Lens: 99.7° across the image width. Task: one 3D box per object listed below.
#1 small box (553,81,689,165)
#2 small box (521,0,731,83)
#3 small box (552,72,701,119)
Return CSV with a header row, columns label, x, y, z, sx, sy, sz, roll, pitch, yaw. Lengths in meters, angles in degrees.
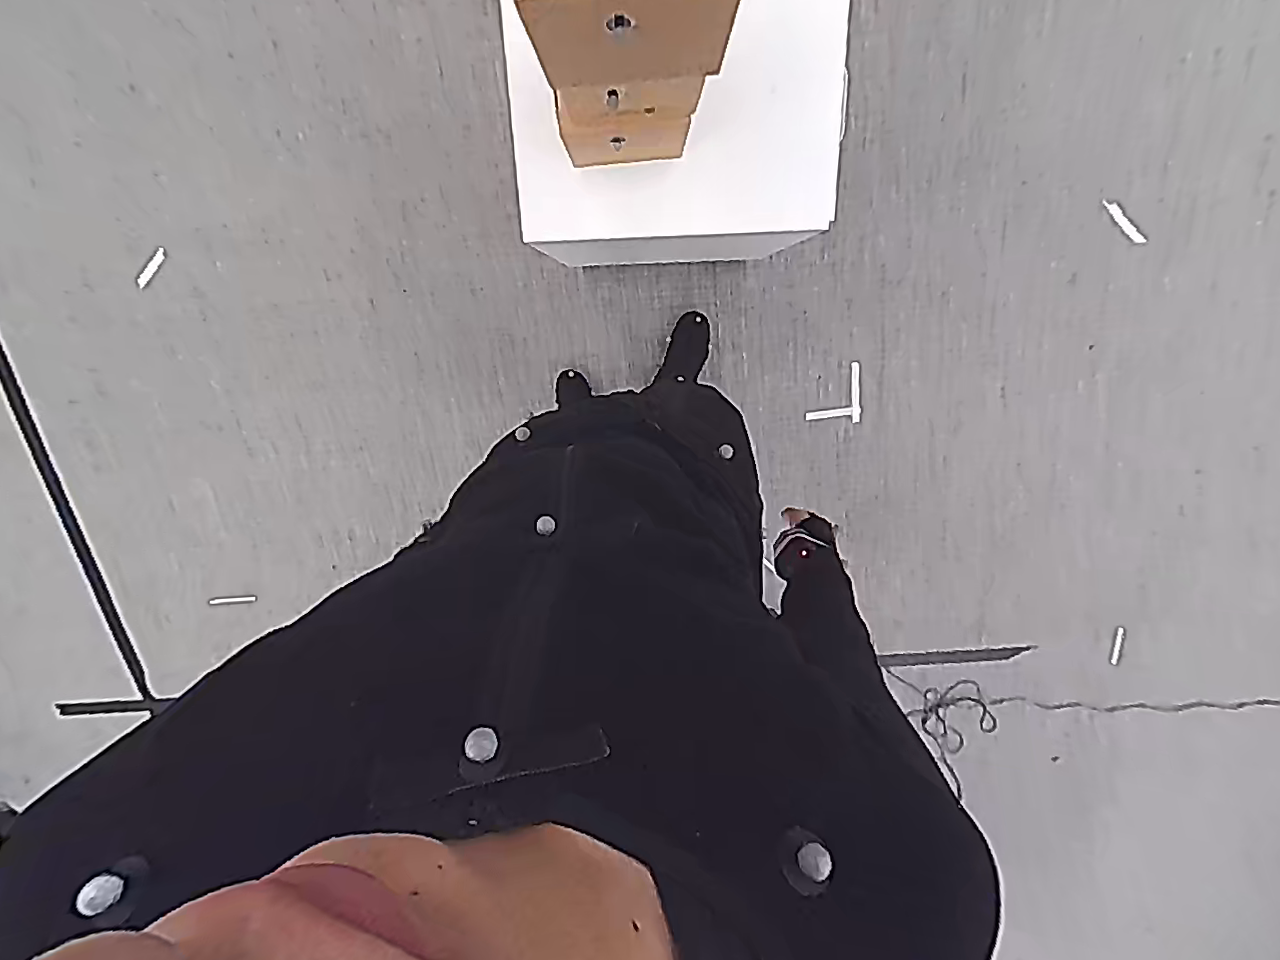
label,x,y,z,sx,sy,sz,roll,pitch,yaw
small box,-0.027,-0.561,0.763,0.179,0.176,0.168,-5,107,1
small box,-0.013,-0.461,0.452,0.179,0.176,0.168,-4,107,1
small box,-0.015,-0.527,0.604,0.168,0.176,0.179,-4,106,1
